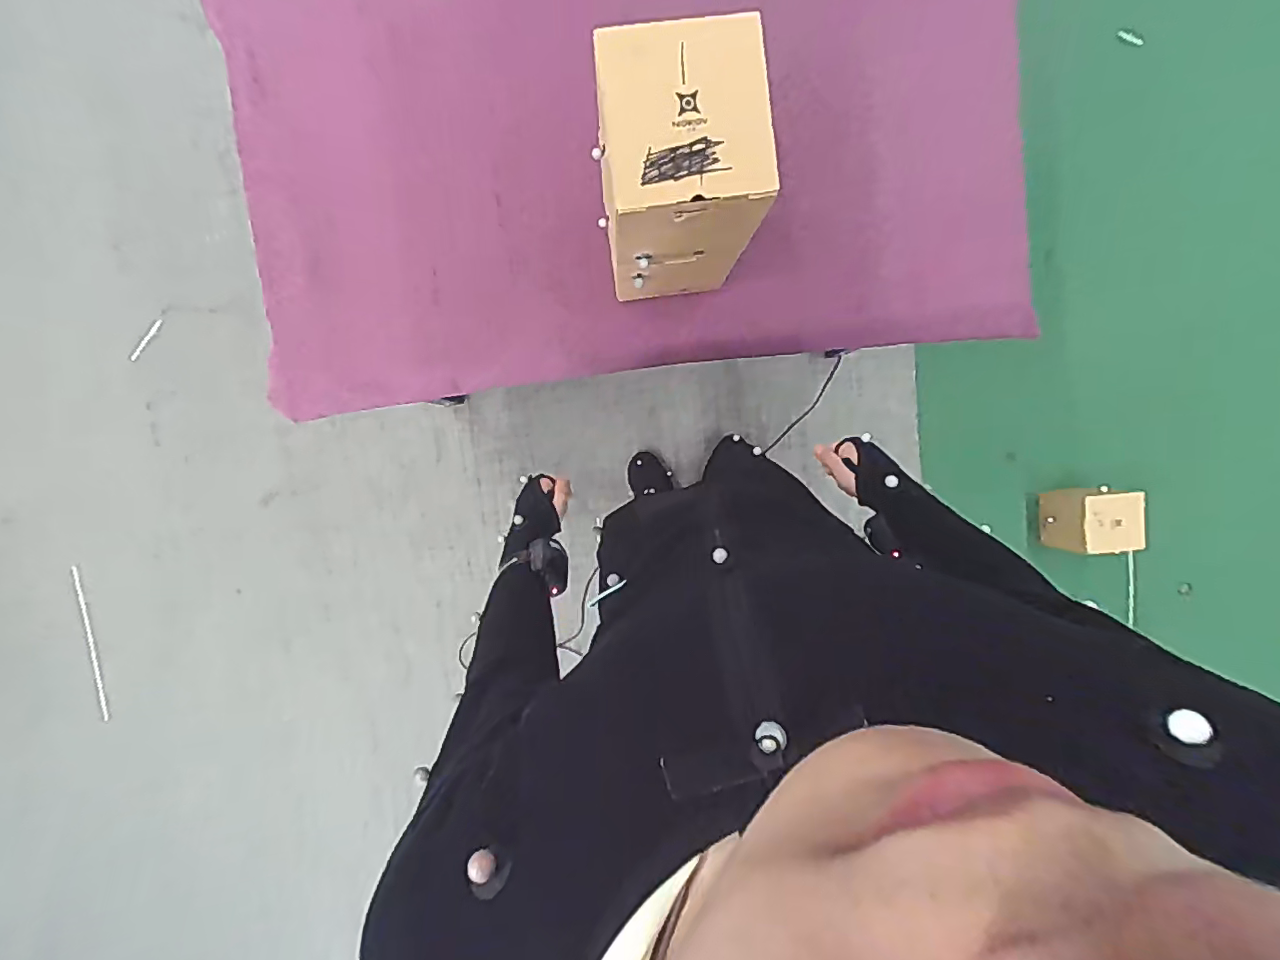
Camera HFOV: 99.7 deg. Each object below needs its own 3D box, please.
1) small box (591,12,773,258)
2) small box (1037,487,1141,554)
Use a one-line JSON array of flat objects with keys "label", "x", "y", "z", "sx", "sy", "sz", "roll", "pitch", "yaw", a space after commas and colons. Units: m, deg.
[{"label": "small box", "x": 0.041, "y": -0.364, "z": 0.609, "sx": 0.168, "sy": 0.176, "sz": 0.179, "roll": -7, "pitch": 93, "yaw": -2}, {"label": "small box", "x": 1.316, "y": 0.114, "z": 1.592, "sx": 0.179, "sy": 0.176, "sz": 0.168, "roll": -5, "pitch": 94, "yaw": -2}]
